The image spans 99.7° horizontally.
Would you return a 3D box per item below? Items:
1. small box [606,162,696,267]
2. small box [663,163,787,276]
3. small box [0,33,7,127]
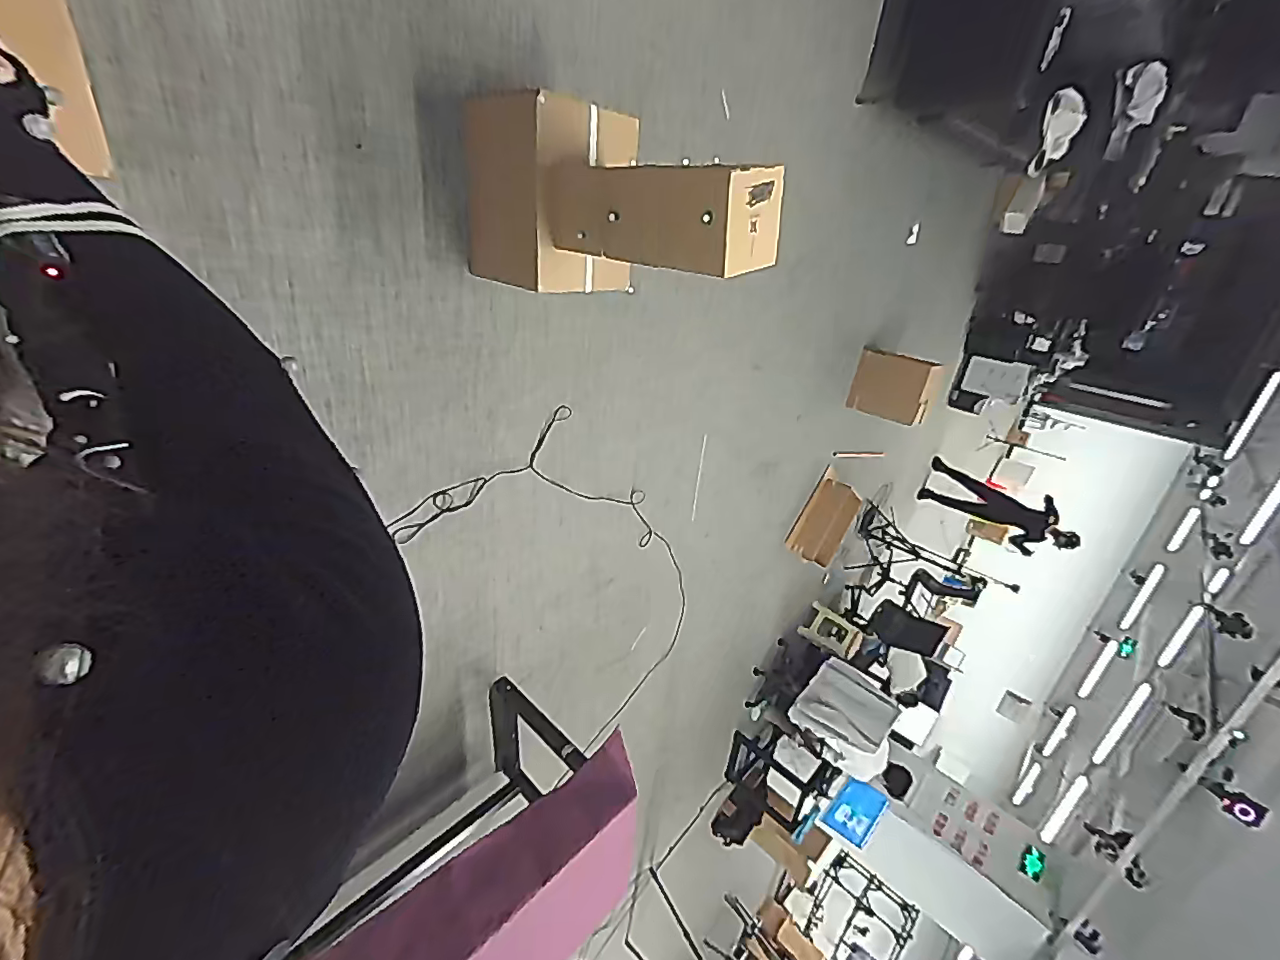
[{"bbox_3d":[0.042,-0.566,1.143,0.168,0.176,0.179,-28,132,-36],"label":"small box"},{"bbox_3d":[0.157,-0.506,1.041,0.168,0.176,0.179,-28,132,-35],"label":"small box"},{"bbox_3d":[-0.756,-0.474,0.529,0.168,0.176,0.179,-7,117,-46],"label":"small box"}]
